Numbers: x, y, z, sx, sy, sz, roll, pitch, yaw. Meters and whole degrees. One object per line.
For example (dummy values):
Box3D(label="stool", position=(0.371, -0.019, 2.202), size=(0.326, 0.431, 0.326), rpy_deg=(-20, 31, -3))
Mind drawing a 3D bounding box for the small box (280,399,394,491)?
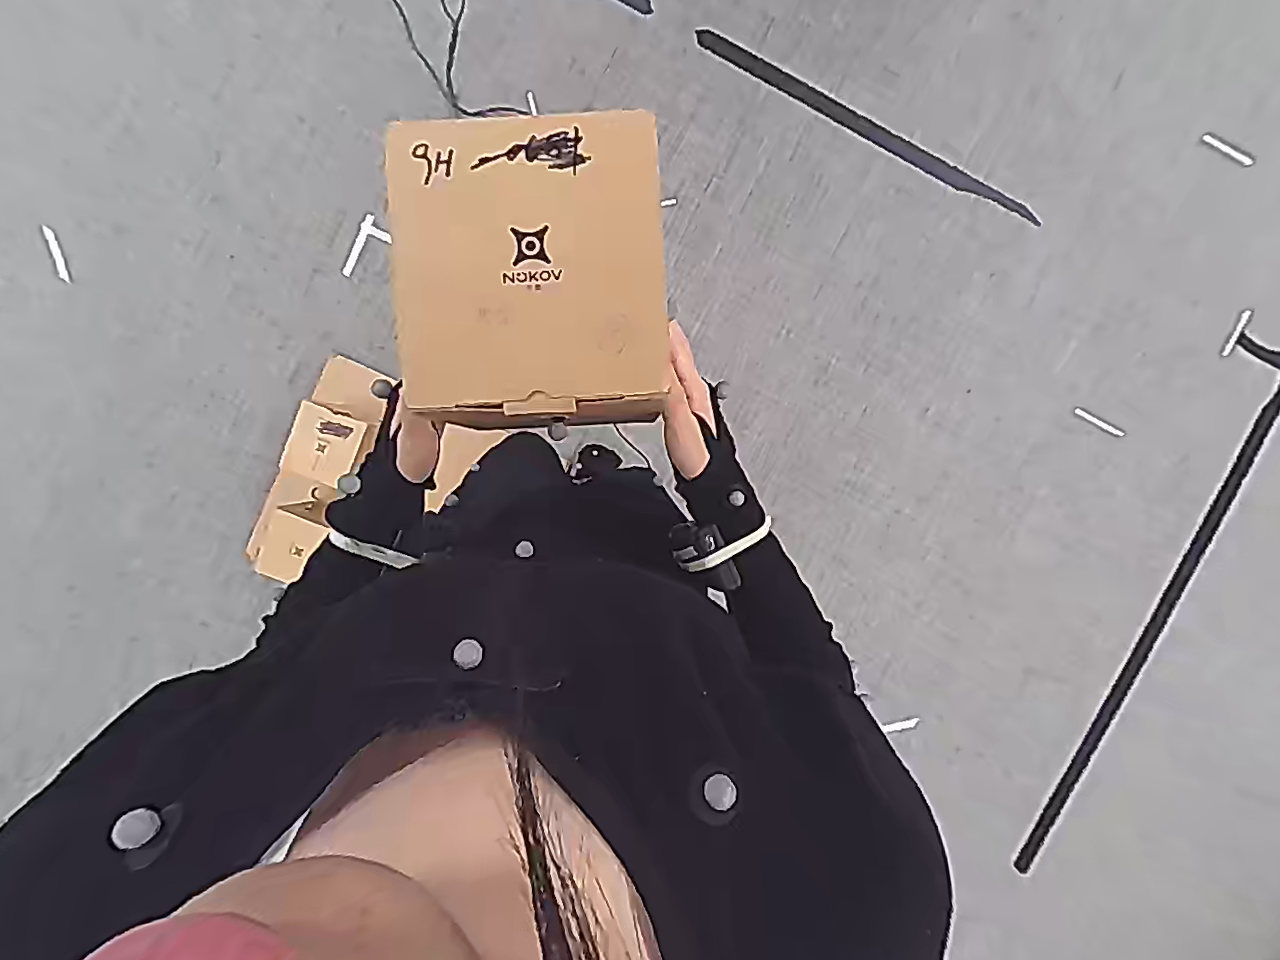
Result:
Box3D(label="small box", position=(-0.752, -0.087, 1.365), size=(0.168, 0.176, 0.179), rpy_deg=(22, 92, -2))

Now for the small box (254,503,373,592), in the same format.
Box3D(label="small box", position=(-0.822, 0.164, 1.378), size=(0.179, 0.176, 0.168), rpy_deg=(20, 93, -3))

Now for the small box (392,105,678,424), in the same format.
Box3D(label="small box", position=(-0.062, -0.134, 0.400), size=(0.168, 0.176, 0.179), rpy_deg=(-3, 91, -2))
